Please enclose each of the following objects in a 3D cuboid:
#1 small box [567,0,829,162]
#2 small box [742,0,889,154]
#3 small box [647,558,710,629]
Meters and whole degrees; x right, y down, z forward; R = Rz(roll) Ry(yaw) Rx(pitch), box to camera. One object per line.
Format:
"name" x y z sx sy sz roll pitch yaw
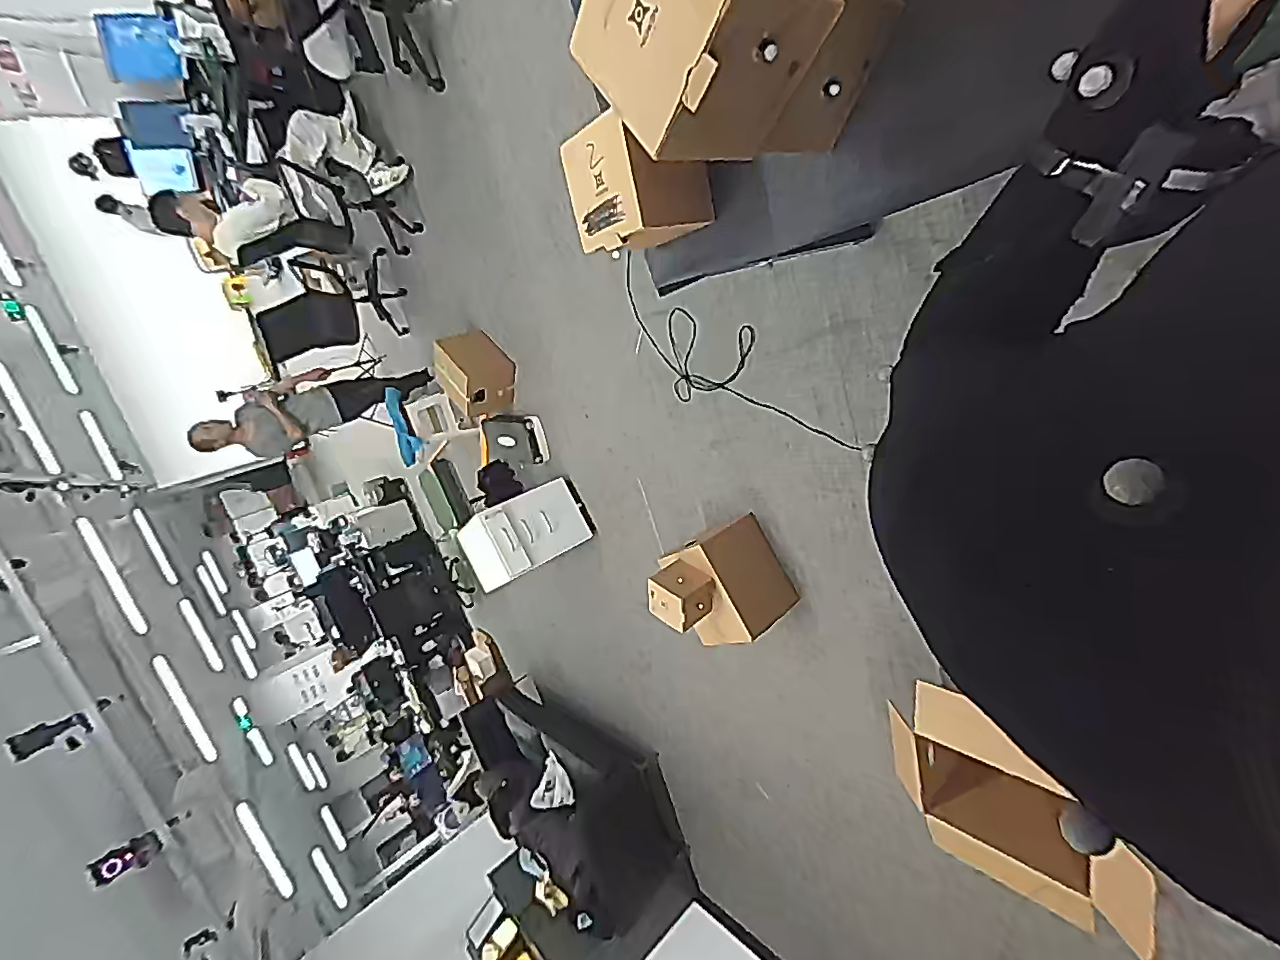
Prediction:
"small box" 0.057 -0.467 0.562 0.179 0.176 0.168 57 143 12
"small box" 0.165 -0.531 0.667 0.179 0.176 0.168 49 142 21
"small box" 0.148 0.422 2.038 0.179 0.176 0.168 24 129 40
